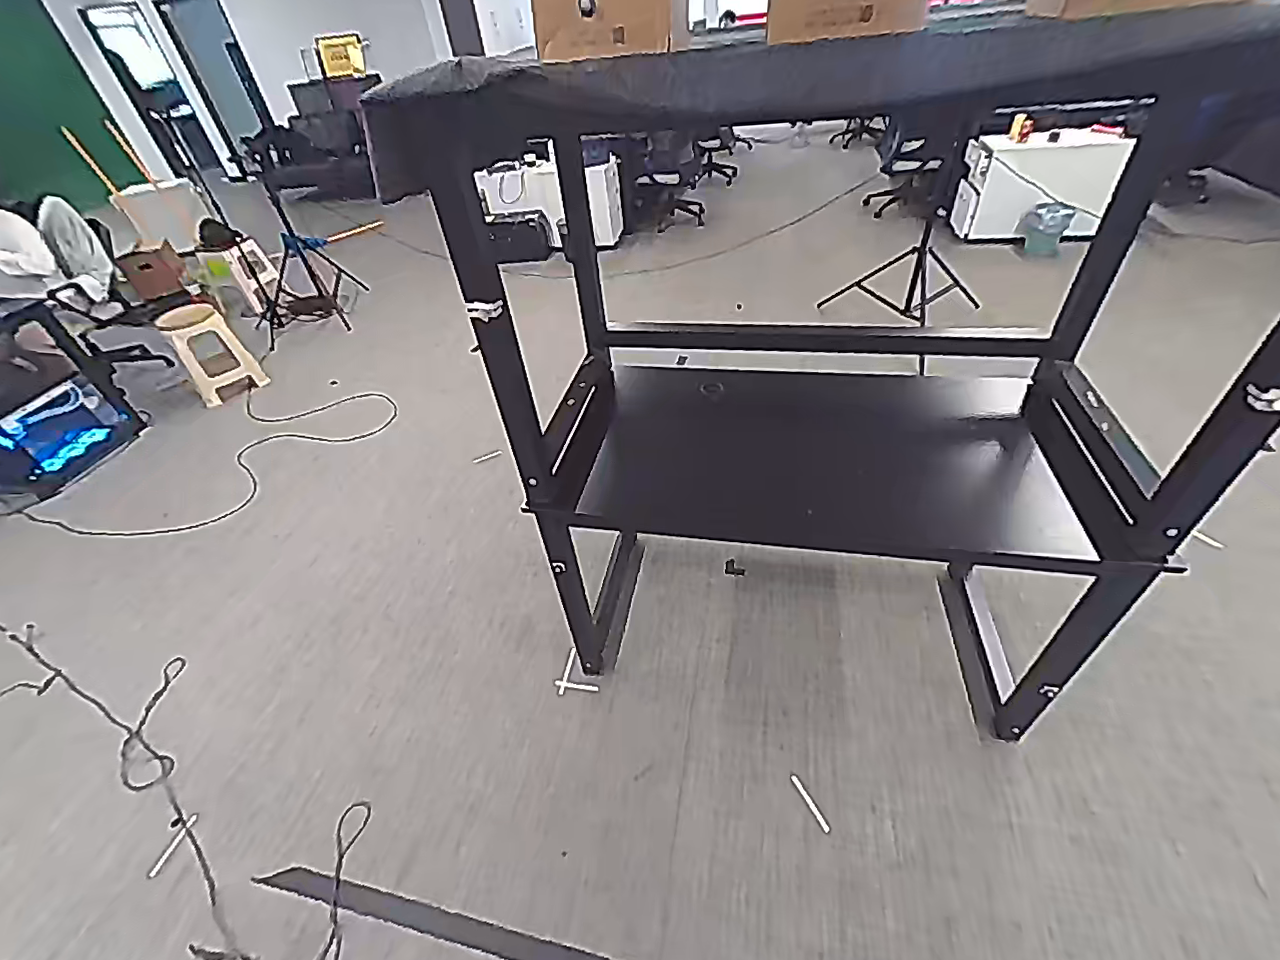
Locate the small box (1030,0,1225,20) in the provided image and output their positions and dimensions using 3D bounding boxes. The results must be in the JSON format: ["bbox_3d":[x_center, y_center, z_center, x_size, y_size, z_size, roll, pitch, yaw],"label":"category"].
[{"bbox_3d":[0.529,-0.582,0.542,0.168,0.176,0.179,7,41,16],"label":"small box"}]

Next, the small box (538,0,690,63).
[{"bbox_3d":[-0.029,-0.621,0.661,0.168,0.176,0.179,5,41,11],"label":"small box"}]

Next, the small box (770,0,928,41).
[{"bbox_3d":[0.237,-0.603,0.603,0.168,0.176,0.179,5,40,14],"label":"small box"}]
